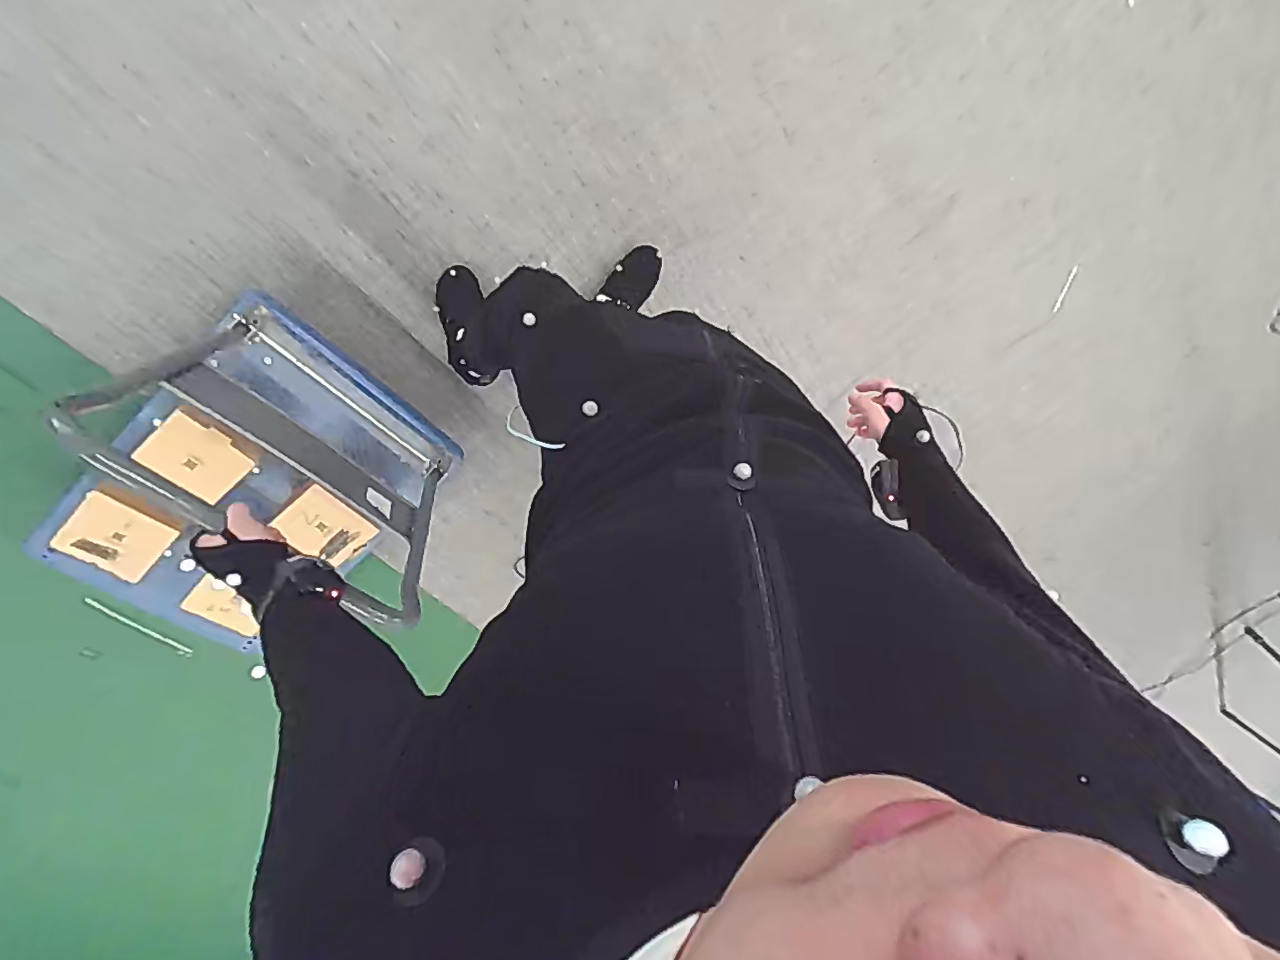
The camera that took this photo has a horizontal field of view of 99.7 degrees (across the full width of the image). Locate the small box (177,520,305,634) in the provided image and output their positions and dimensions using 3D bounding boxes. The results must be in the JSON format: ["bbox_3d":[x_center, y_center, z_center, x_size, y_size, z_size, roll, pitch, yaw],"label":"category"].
[{"bbox_3d":[-0.952,0.229,1.312,0.179,0.176,0.168,-44,118,11],"label":"small box"}]

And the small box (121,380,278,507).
[{"bbox_3d":[-0.921,-0.082,1.152,0.179,0.176,0.168,-39,120,8],"label":"small box"}]

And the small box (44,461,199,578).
[{"bbox_3d":[-1.112,0.074,1.187,0.179,0.176,0.168,-42,120,9],"label":"small box"}]
